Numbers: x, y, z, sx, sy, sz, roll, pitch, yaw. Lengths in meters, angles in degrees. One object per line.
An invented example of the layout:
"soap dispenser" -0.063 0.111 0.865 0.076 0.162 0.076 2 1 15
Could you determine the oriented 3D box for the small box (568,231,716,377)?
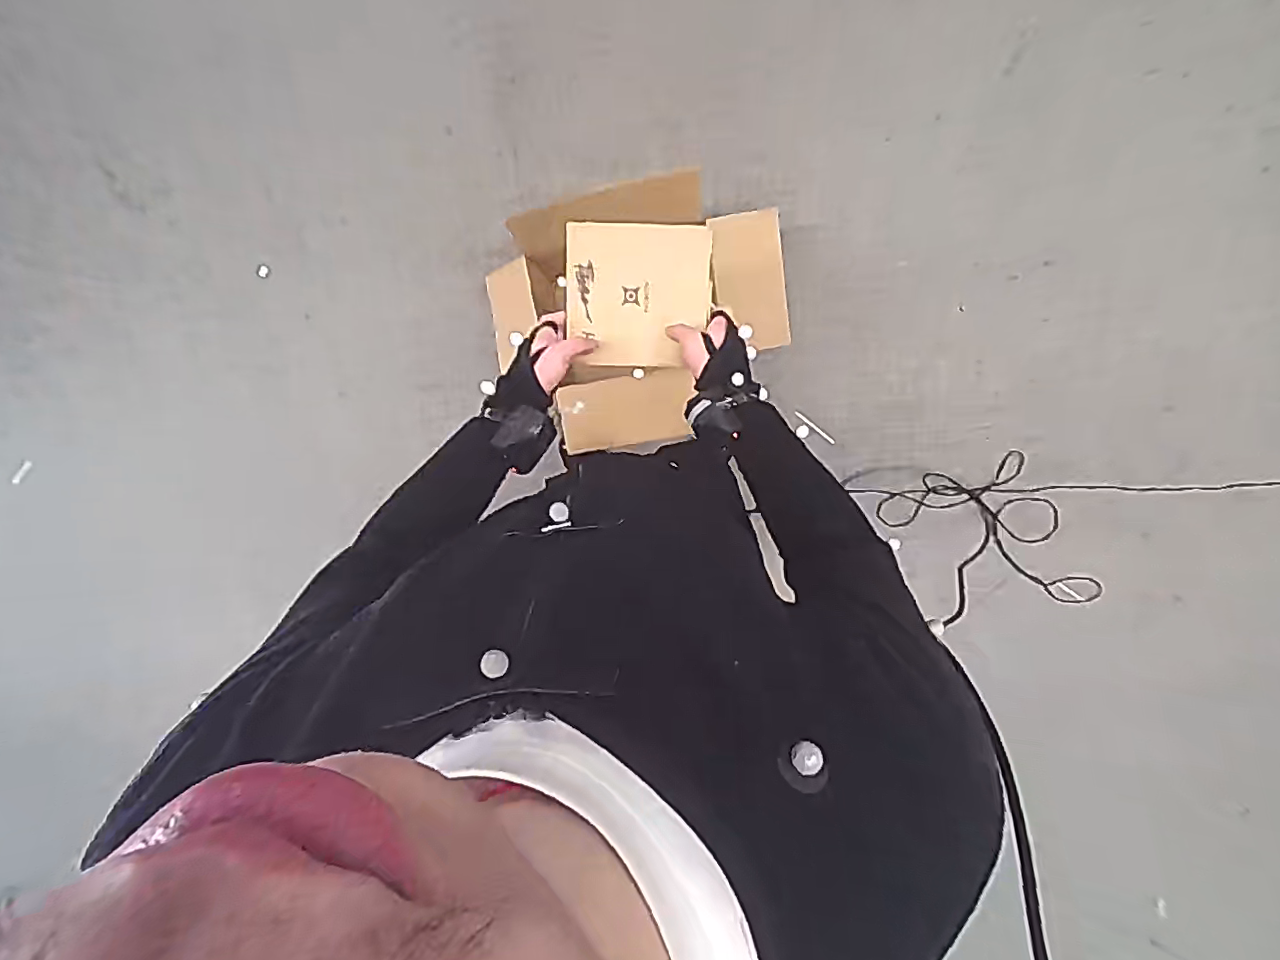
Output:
"small box" 0.001 -0.230 0.736 0.179 0.176 0.168 2 102 0
